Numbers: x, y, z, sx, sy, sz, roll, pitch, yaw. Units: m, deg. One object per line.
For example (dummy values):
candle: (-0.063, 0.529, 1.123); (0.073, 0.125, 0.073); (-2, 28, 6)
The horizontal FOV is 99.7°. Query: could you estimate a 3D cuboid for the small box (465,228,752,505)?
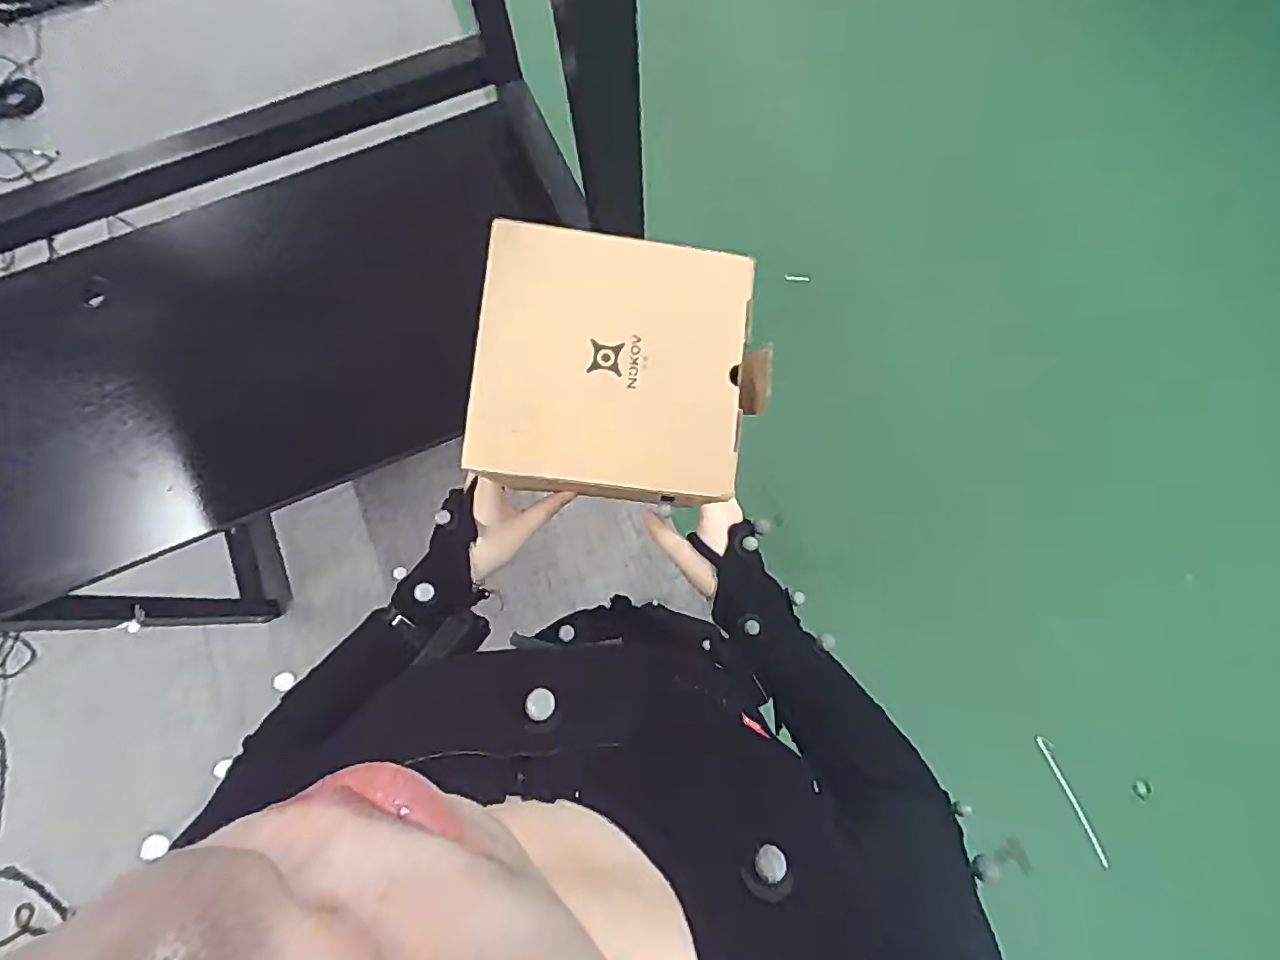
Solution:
small box: (-0.024, -0.071, 0.437); (0.179, 0.176, 0.168); (7, 84, -5)
